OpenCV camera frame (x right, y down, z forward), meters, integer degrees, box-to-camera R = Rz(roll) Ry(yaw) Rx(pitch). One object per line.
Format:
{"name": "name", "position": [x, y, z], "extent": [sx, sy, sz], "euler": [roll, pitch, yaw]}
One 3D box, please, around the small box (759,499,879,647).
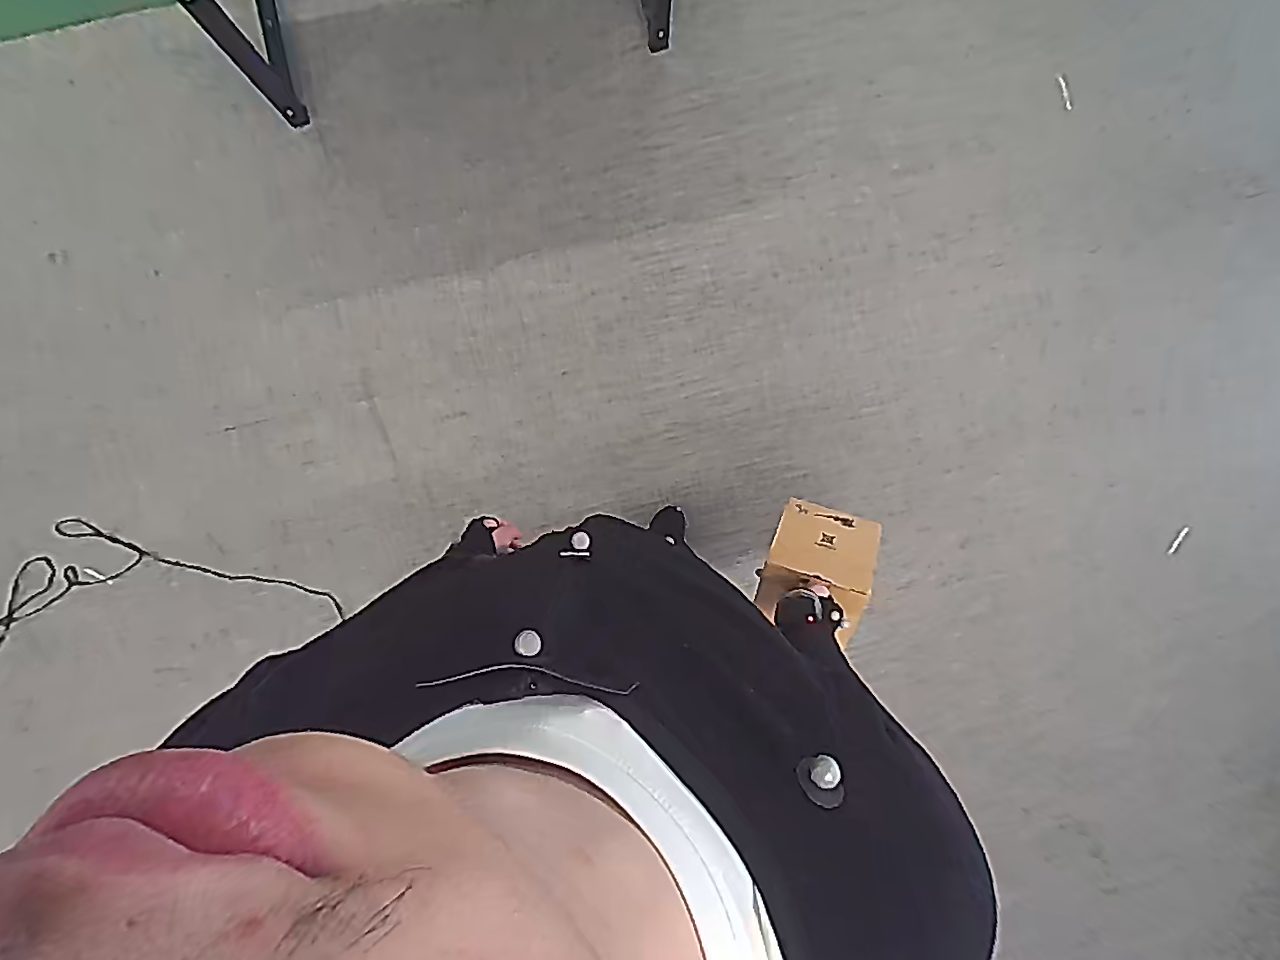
{"name": "small box", "position": [0.315, 0.167, 0.964], "extent": [0.168, 0.176, 0.179], "euler": [14, 42, 17]}
